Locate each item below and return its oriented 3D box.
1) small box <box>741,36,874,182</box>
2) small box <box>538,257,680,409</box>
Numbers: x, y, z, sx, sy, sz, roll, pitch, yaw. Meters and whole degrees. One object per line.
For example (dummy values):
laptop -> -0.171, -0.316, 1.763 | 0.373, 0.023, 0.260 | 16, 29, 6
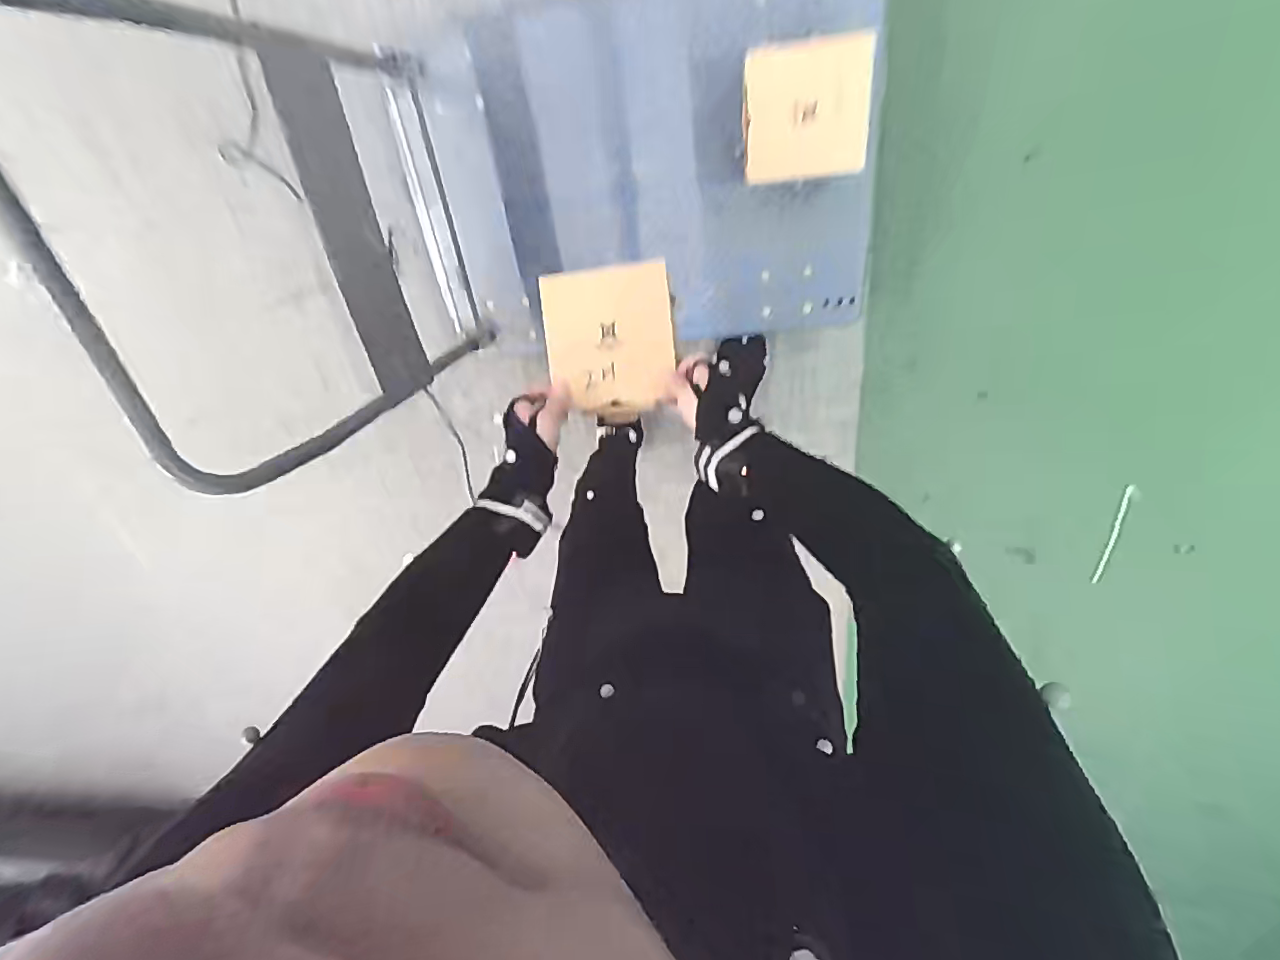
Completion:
small box -> 0.250, -0.570, 0.852 | 0.179, 0.176, 0.168 | 0, 121, 10
small box -> -0.033, -0.197, 0.762 | 0.168, 0.176, 0.179 | -5, 100, 8
